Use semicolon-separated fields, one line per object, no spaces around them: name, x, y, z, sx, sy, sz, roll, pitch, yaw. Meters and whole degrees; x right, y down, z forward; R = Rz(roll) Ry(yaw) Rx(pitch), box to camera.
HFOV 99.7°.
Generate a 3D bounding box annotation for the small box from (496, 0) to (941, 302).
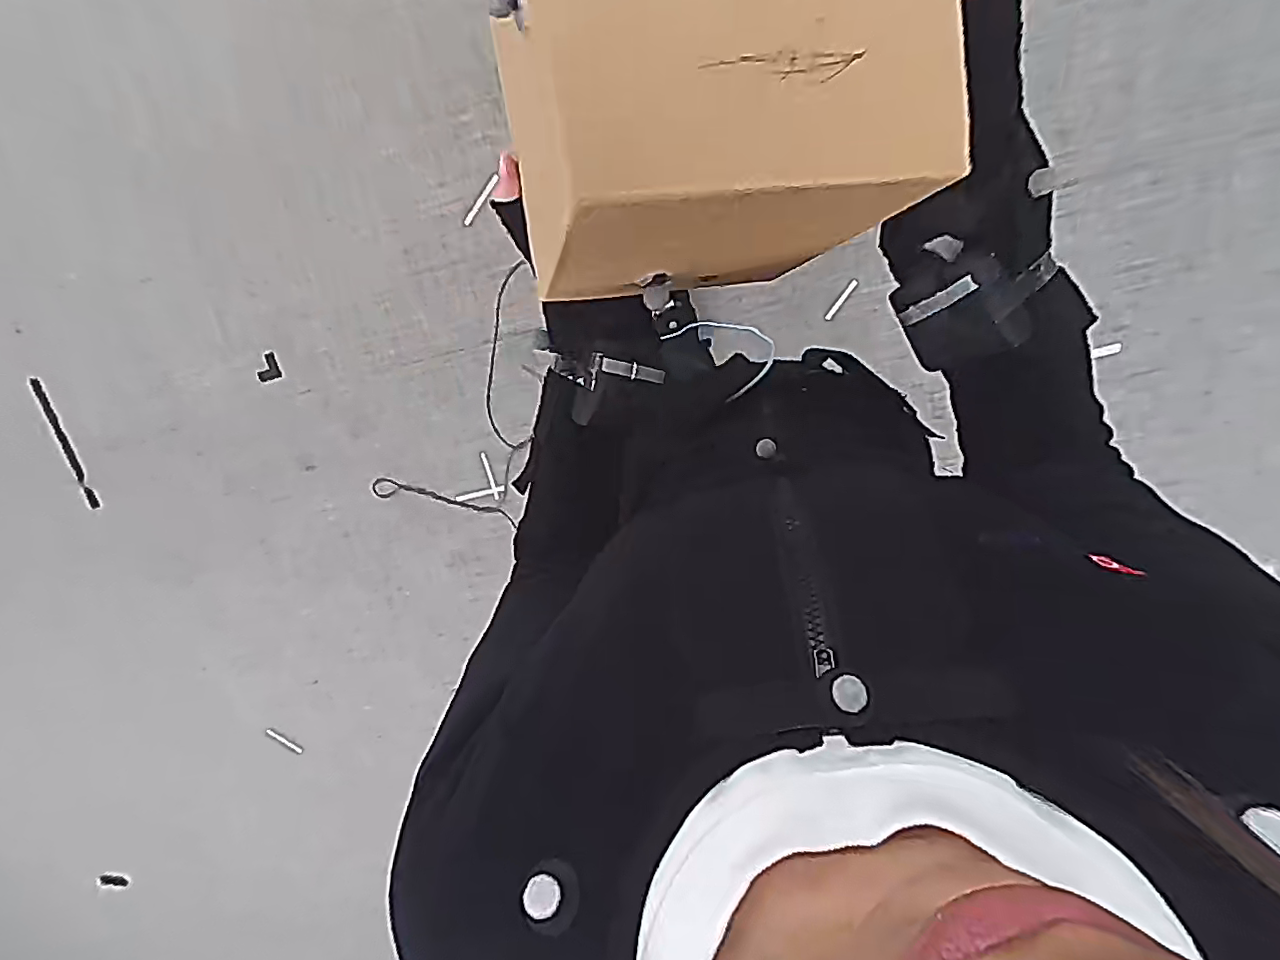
small box;0.020;-0.209;0.284;0.168;0.176;0.179;-11;97;-13
